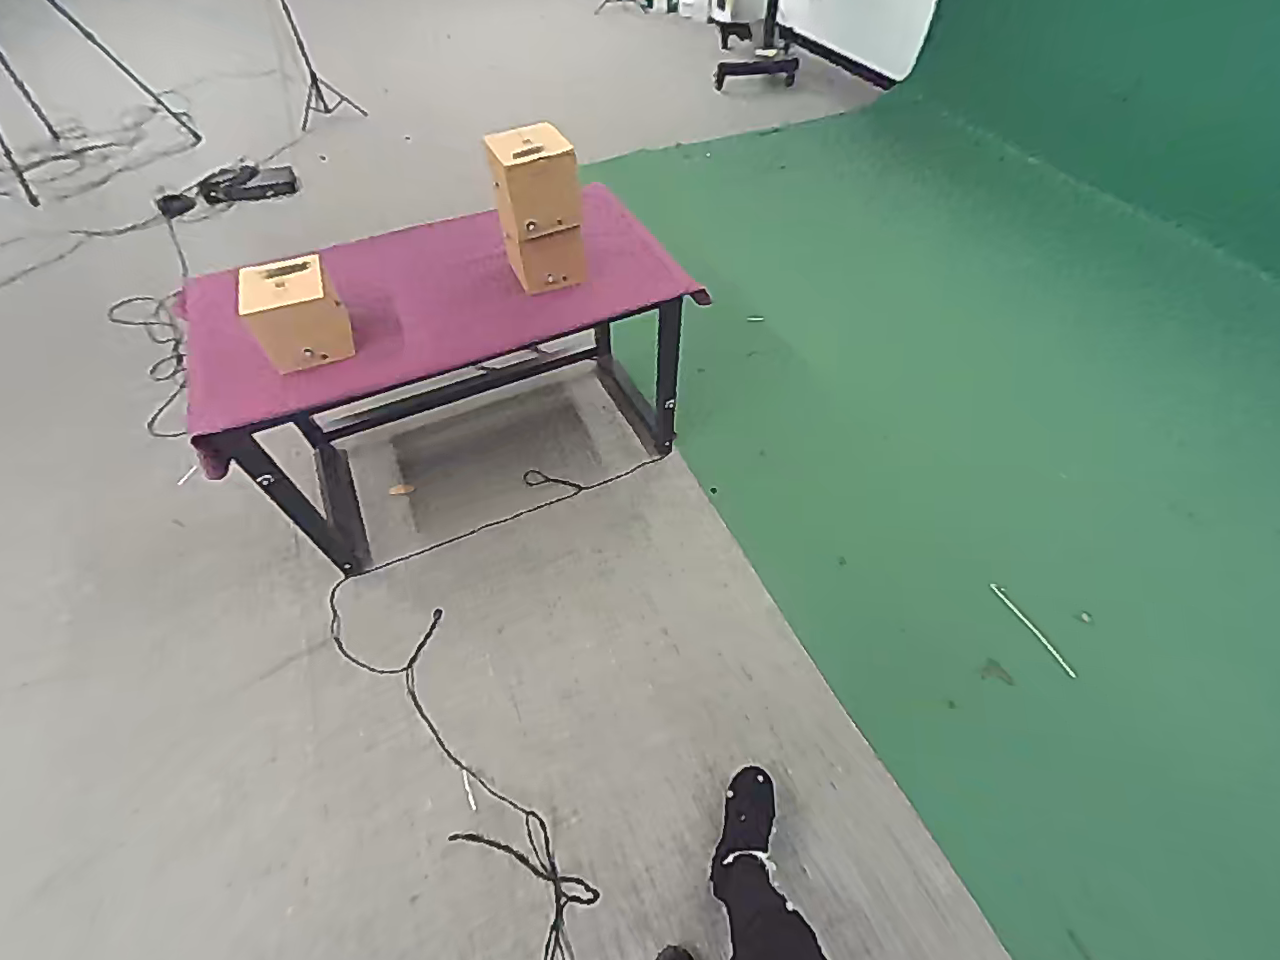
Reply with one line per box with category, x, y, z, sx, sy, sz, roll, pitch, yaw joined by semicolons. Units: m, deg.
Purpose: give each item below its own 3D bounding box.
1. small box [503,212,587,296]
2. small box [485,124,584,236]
small box;-0.245;-0.611;1.406;0.168;0.176;0.179;-20;56;-12
small box;-0.240;-0.693;1.263;0.168;0.176;0.179;-22;55;-14
